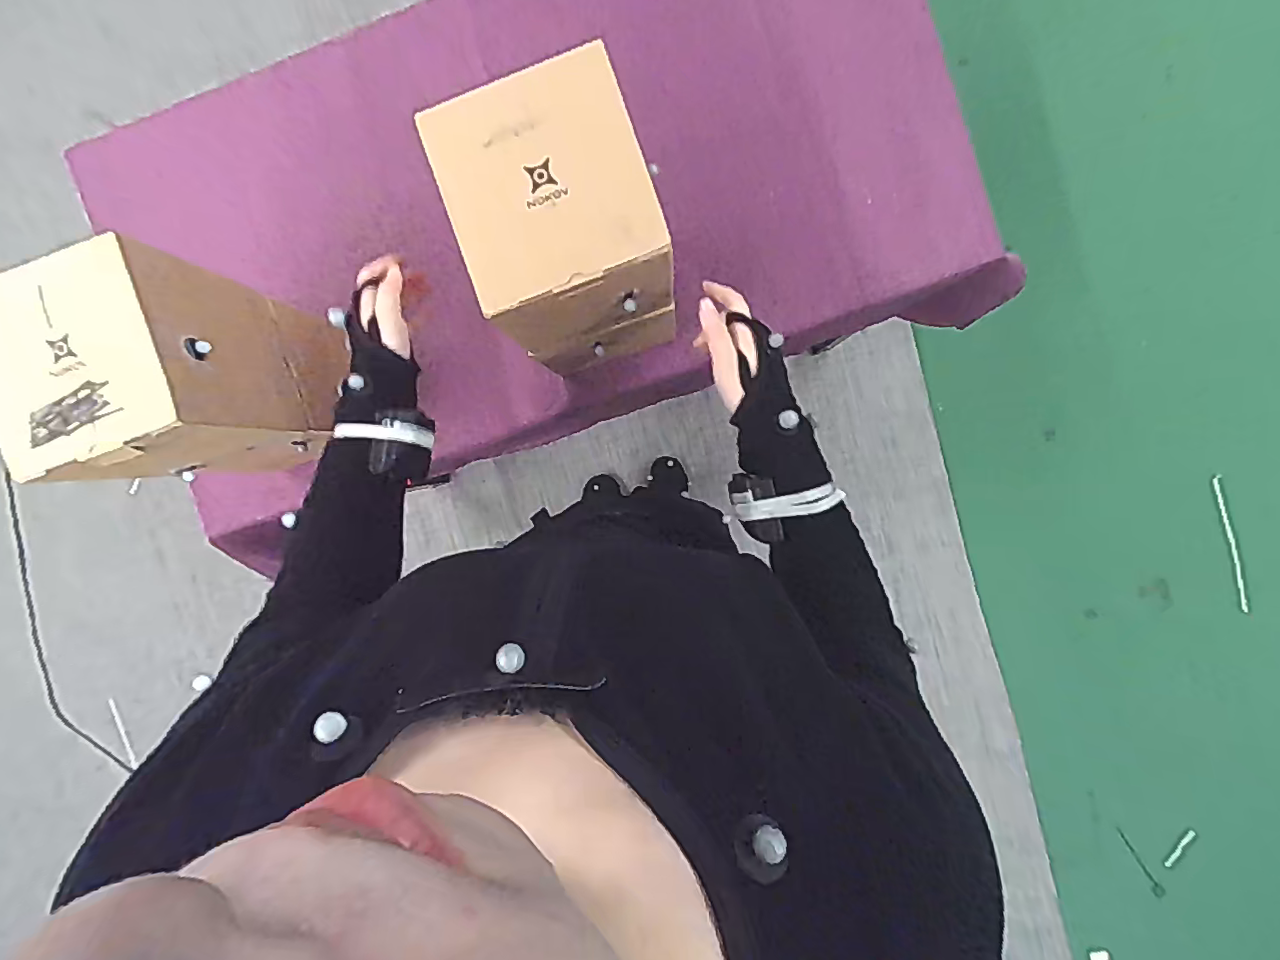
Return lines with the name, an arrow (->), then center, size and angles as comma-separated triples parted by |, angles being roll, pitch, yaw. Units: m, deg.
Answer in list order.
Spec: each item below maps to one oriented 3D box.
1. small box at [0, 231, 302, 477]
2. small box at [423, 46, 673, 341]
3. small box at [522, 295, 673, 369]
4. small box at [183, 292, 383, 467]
small box -> -0.488, -0.111, 0.548 | 0.168, 0.176, 0.179 | -18, 91, 3
small box -> -0.070, -0.245, 0.518 | 0.168, 0.176, 0.179 | -19, 92, 3
small box -> -0.061, -0.249, 0.682 | 0.179, 0.176, 0.168 | -16, 93, 4
small box -> -0.481, -0.118, 0.712 | 0.179, 0.176, 0.168 | -18, 92, 3
